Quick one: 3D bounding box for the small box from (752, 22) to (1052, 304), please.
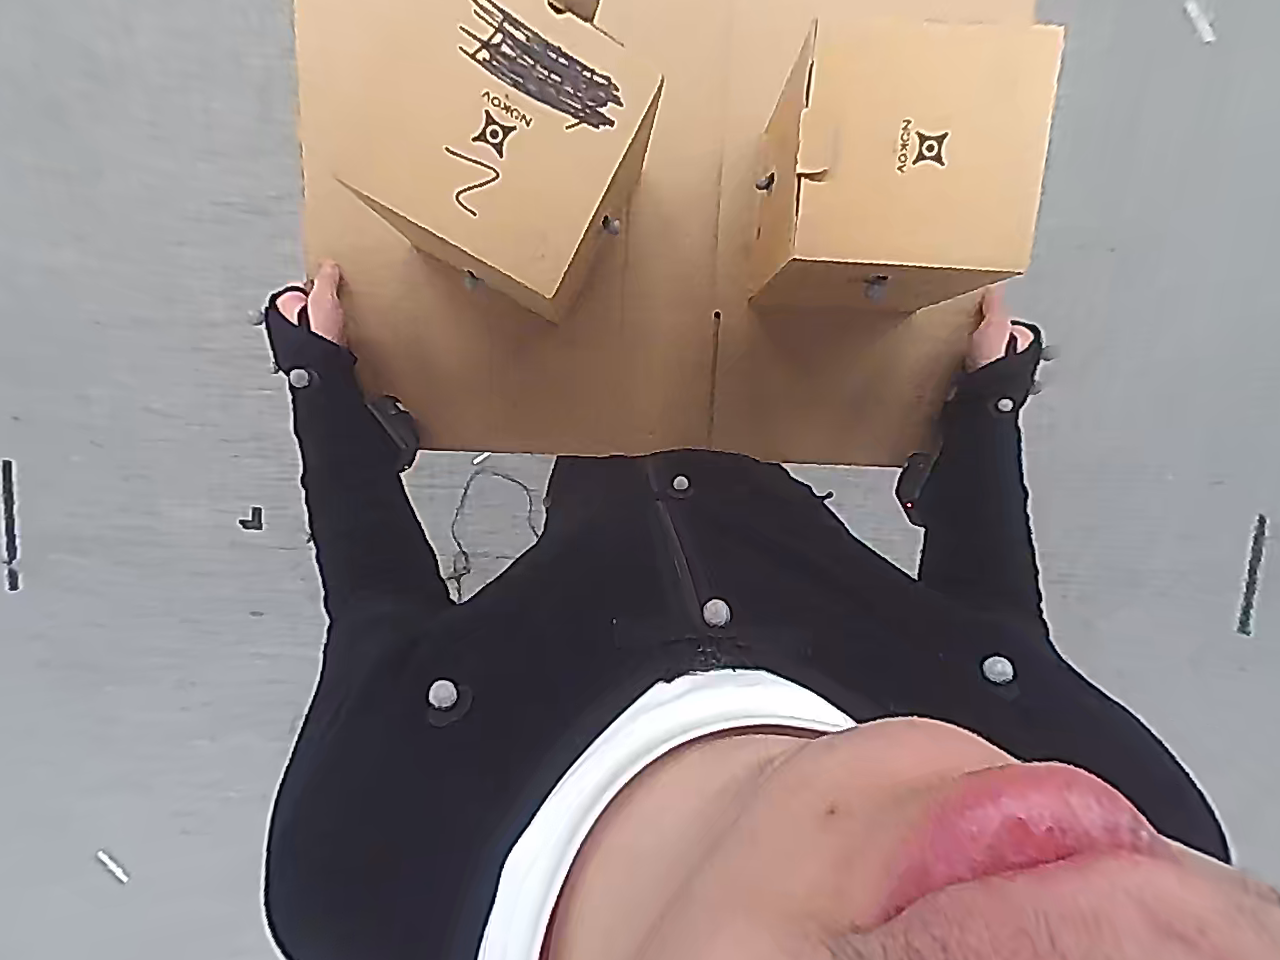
[{"bbox_3d":[0.208,-0.257,0.481,0.179,0.176,0.168,3,98,1],"label":"small box"}]
